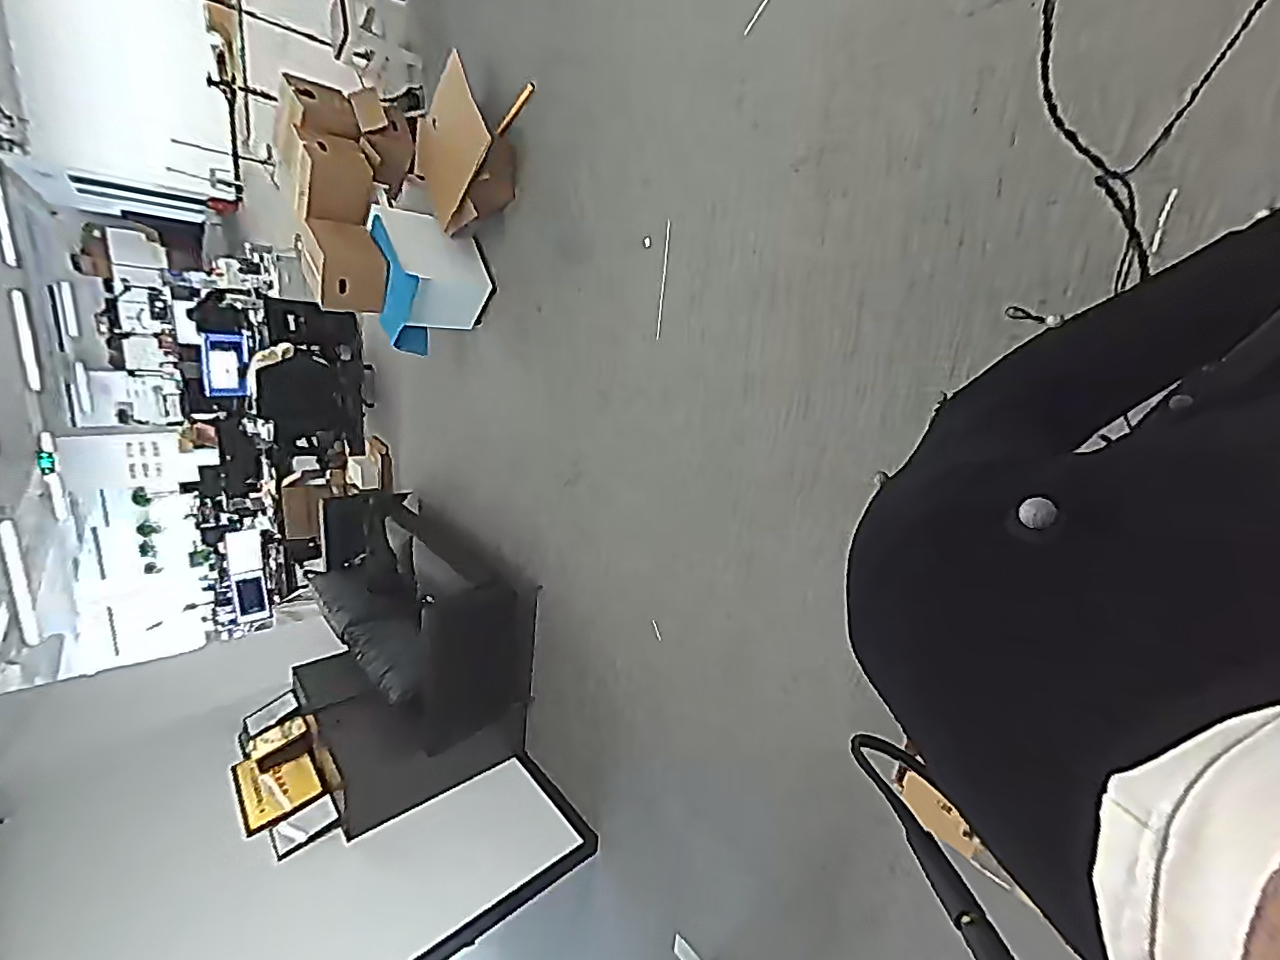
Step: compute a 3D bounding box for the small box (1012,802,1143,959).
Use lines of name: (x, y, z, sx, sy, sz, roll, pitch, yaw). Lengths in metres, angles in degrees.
small box: (0.930, 0.836, 1.148, 0.168, 0.176, 0.179, 23, 112, 46)

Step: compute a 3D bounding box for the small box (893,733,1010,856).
small box: (0.760, 0.750, 1.320, 0.179, 0.176, 0.168, 28, 115, 42)
